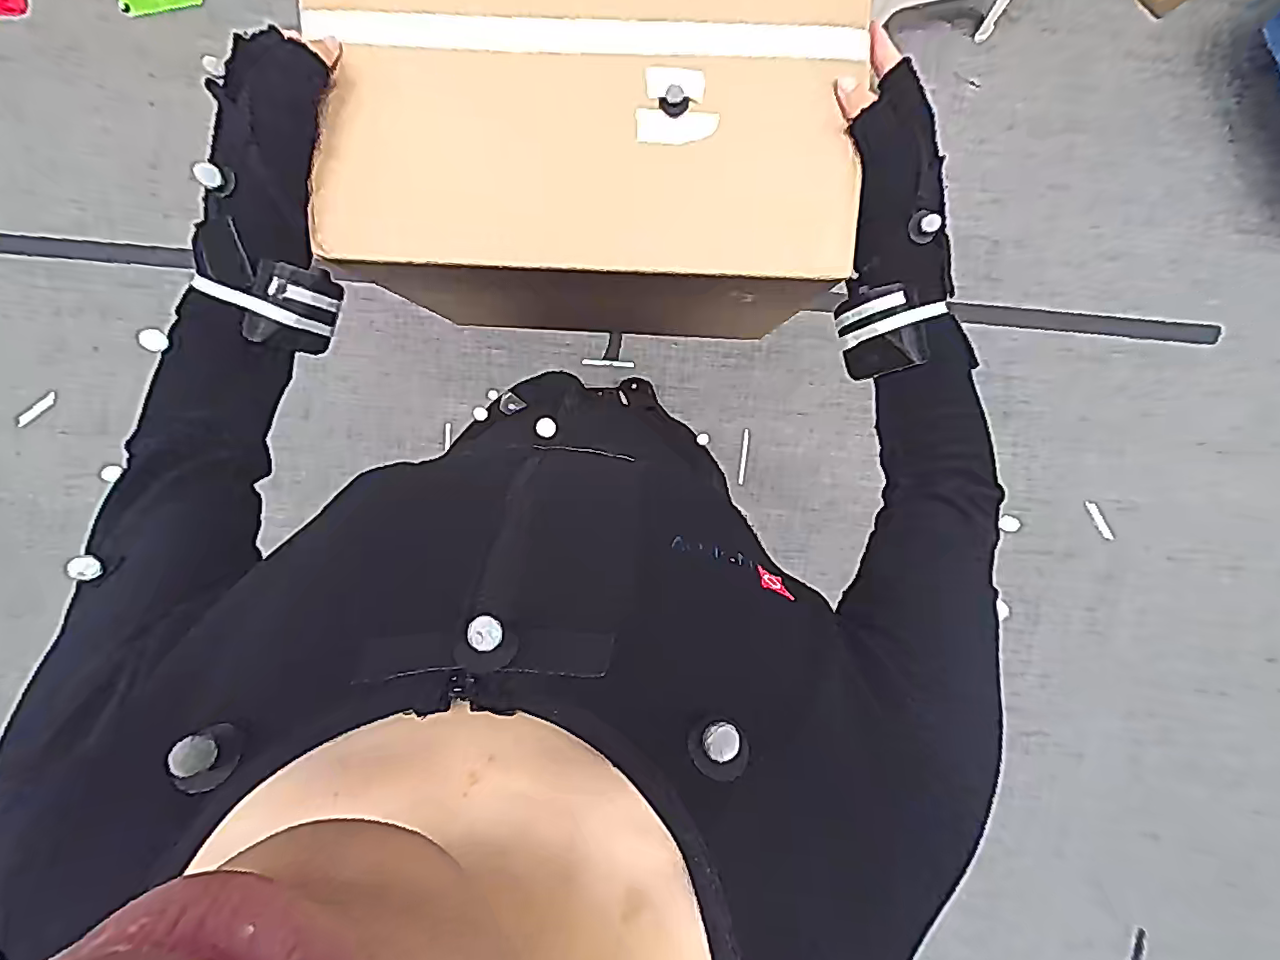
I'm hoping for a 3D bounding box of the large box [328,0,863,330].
[{"bbox_3d":[-0.035,-0.339,0.551,0.408,0.320,0.320,2,97,0],"label":"large box"}]
